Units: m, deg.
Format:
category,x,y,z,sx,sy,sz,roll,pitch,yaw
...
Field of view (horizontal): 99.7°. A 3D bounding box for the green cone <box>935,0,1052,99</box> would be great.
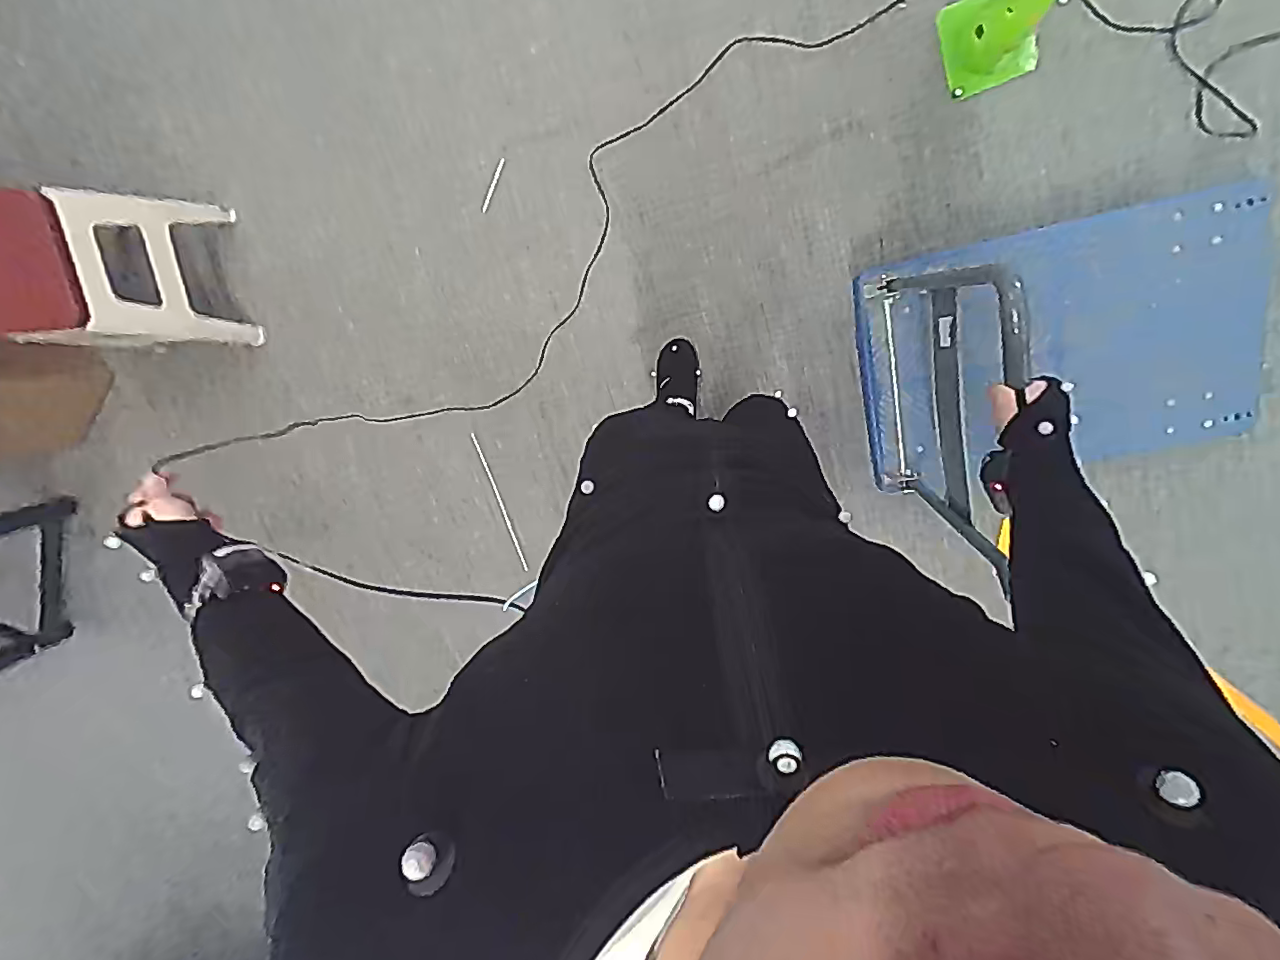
category,x,y,z,sx,sy,sz,roll,pitch,yaw
green cone,0.795,-0.987,1.099,0.200,0.368,0.202,-19,102,10
